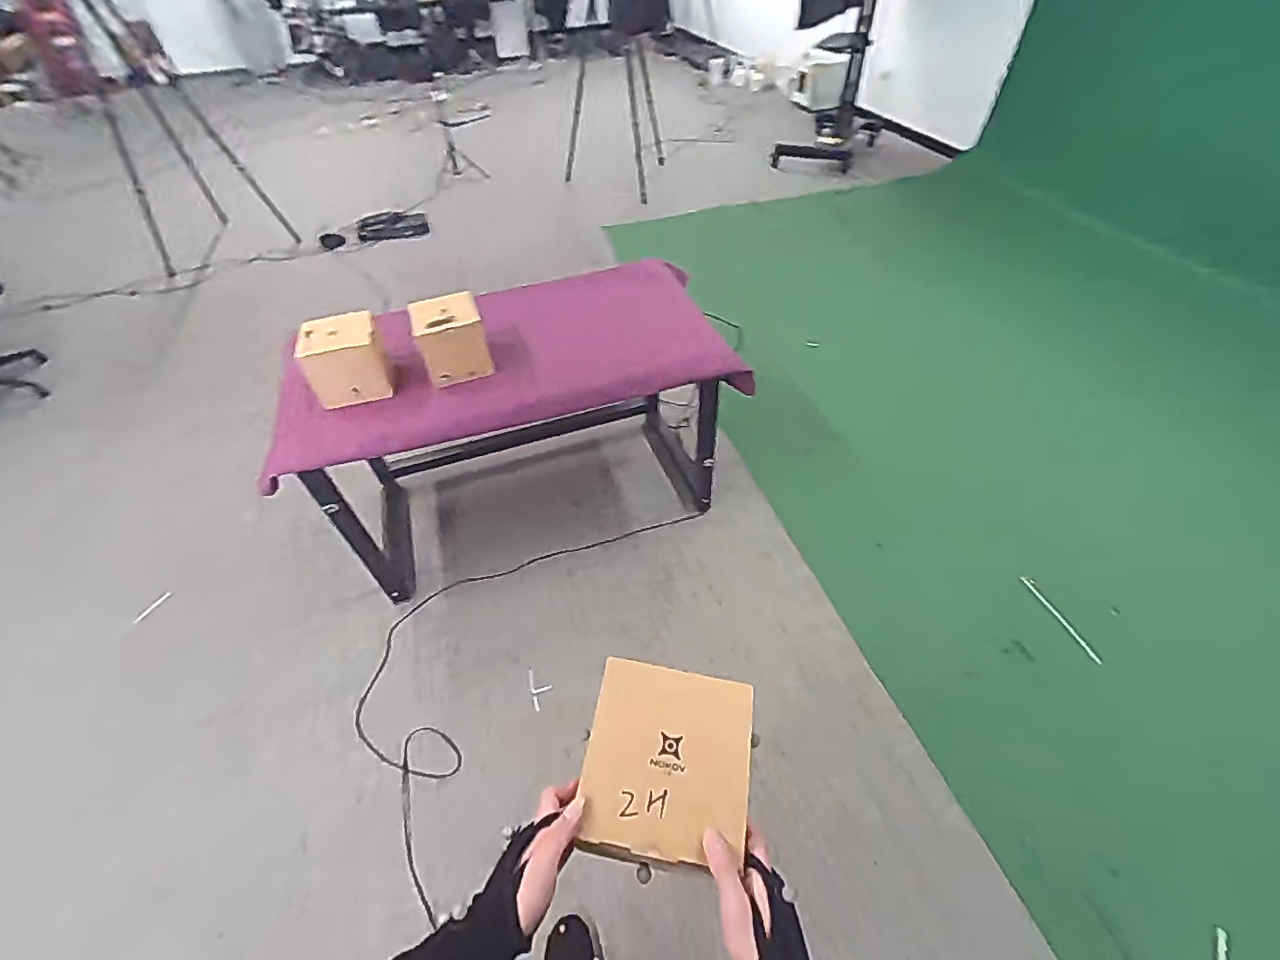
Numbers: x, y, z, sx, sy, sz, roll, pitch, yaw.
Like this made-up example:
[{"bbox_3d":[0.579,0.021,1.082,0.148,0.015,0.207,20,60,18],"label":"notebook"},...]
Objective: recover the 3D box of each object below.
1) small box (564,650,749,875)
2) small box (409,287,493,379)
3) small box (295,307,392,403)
[{"bbox_3d":[0.018,0.319,0.607,0.168,0.176,0.179,10,52,4],"label":"small box"},{"bbox_3d":[-0.507,-0.390,1.462,0.168,0.176,0.179,-17,49,-13],"label":"small box"},{"bbox_3d":[-0.761,-0.324,1.411,0.179,0.176,0.168,-13,49,-11],"label":"small box"}]
